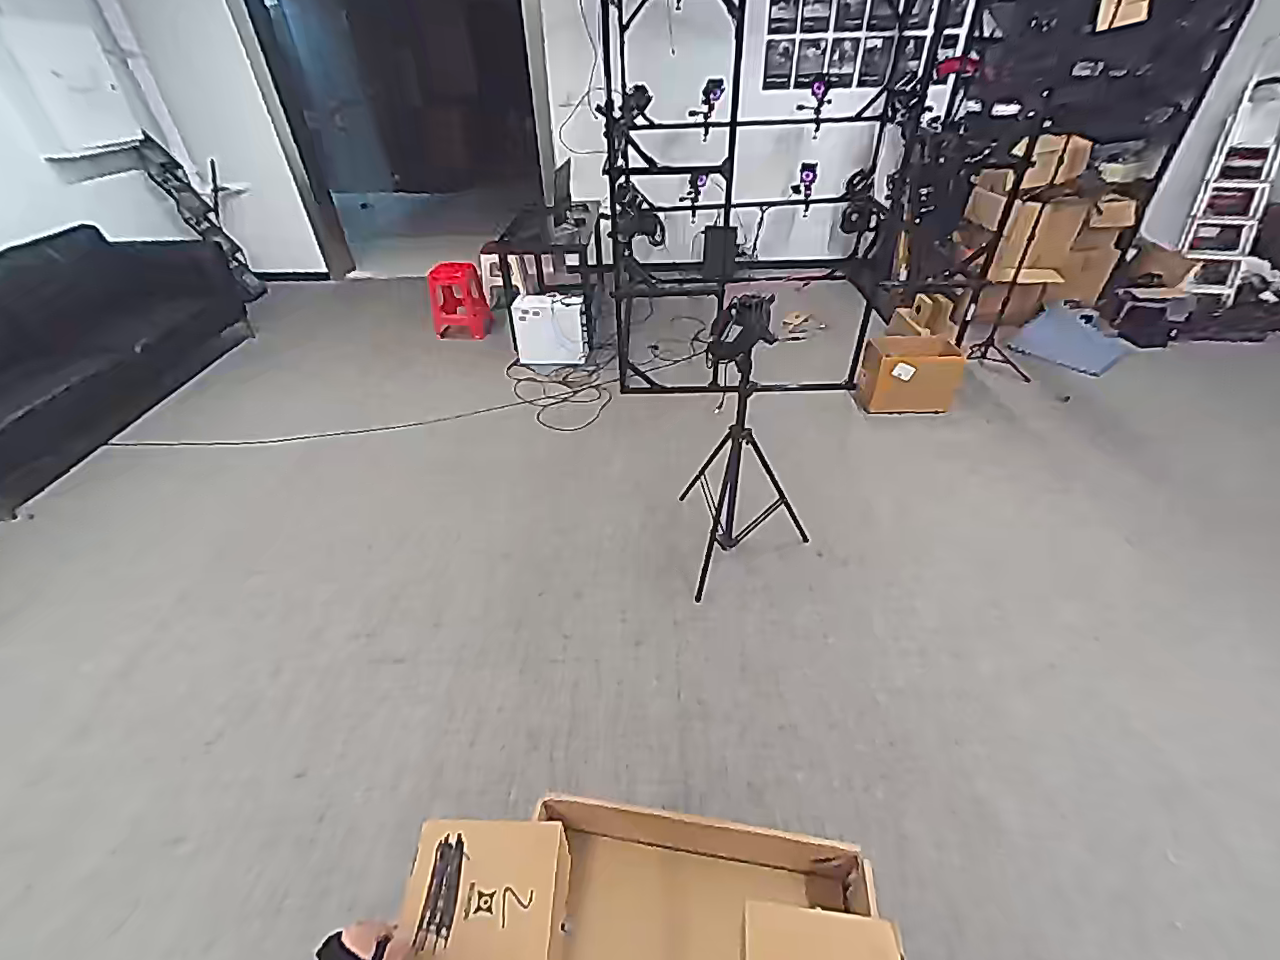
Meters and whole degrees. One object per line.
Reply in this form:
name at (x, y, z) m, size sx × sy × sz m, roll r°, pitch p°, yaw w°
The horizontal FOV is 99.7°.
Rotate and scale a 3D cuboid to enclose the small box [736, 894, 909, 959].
small box at (0.203, 0.608, 0.612) m, size 0.179 × 0.176 × 0.168 m, roll 3°, pitch 36°, yaw 8°
